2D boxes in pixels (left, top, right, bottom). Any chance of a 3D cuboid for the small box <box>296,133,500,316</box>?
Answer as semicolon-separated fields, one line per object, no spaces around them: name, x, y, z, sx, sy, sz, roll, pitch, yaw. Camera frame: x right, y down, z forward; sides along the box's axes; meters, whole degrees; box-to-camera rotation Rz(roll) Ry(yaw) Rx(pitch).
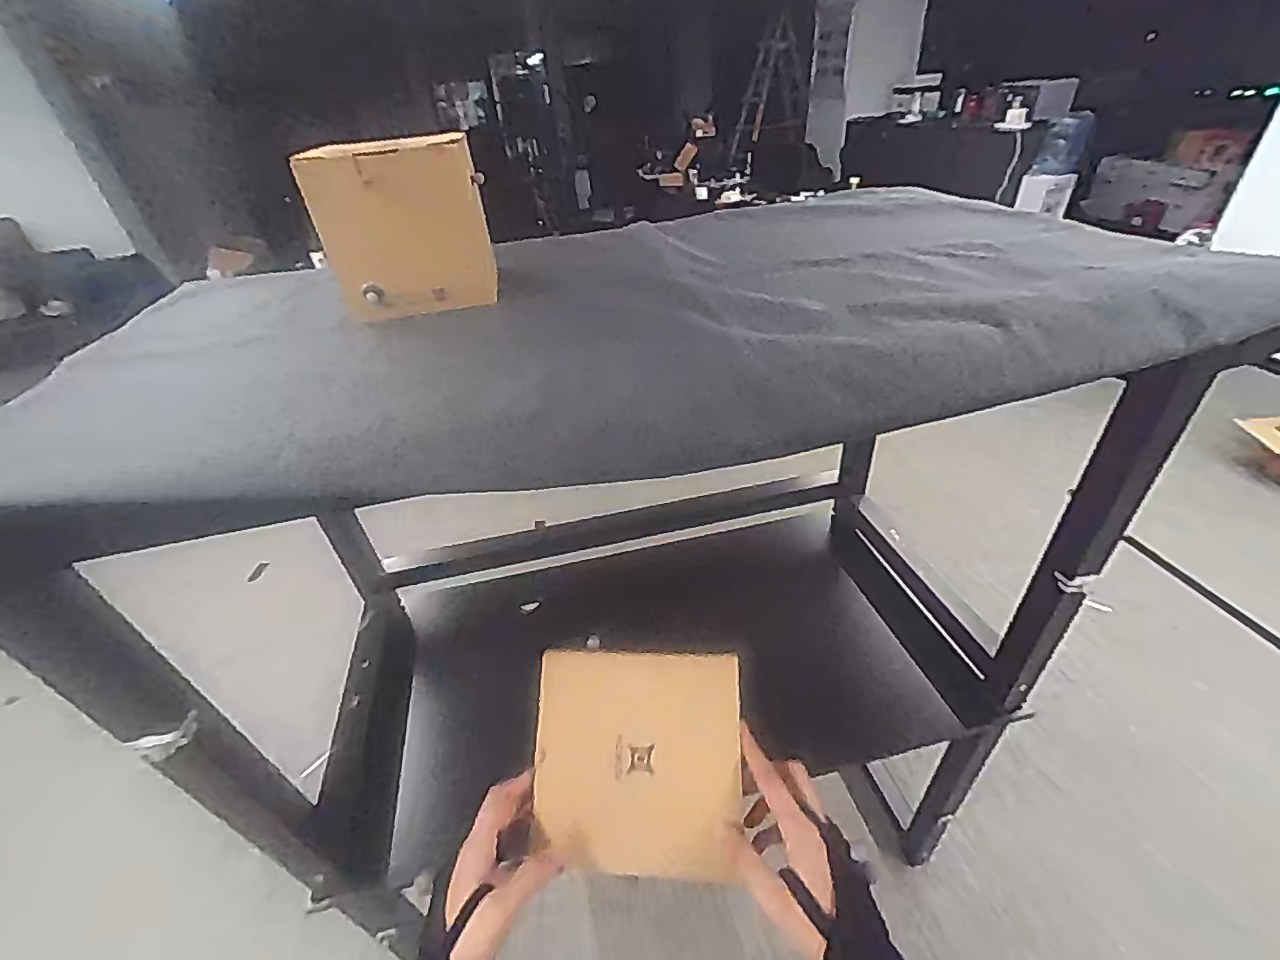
small box;-0.270;-0.307;0.654;0.168;0.176;0.179;-11;36;-7
